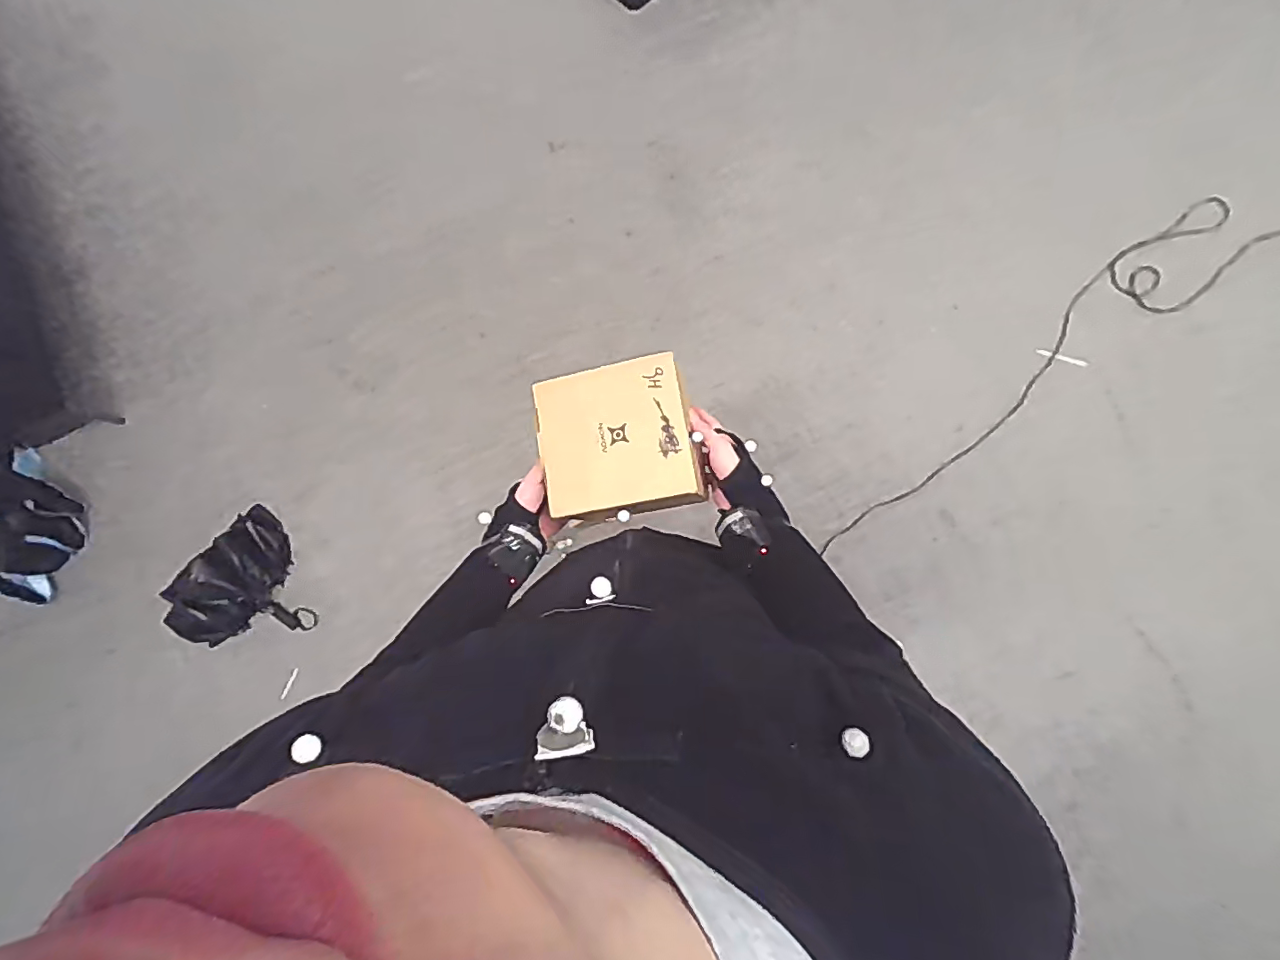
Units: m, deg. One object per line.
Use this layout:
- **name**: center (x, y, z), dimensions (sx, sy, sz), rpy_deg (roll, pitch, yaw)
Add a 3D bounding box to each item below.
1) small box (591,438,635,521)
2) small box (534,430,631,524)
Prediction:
- **small box**: center (-0.128, 0.006, 1.520), dimensions (0.168, 0.176, 0.179), rpy_deg (-30, 85, 2)
- **small box**: center (-0.138, 0.000, 1.356), dimensions (0.168, 0.176, 0.179), rpy_deg (-30, 84, 2)
